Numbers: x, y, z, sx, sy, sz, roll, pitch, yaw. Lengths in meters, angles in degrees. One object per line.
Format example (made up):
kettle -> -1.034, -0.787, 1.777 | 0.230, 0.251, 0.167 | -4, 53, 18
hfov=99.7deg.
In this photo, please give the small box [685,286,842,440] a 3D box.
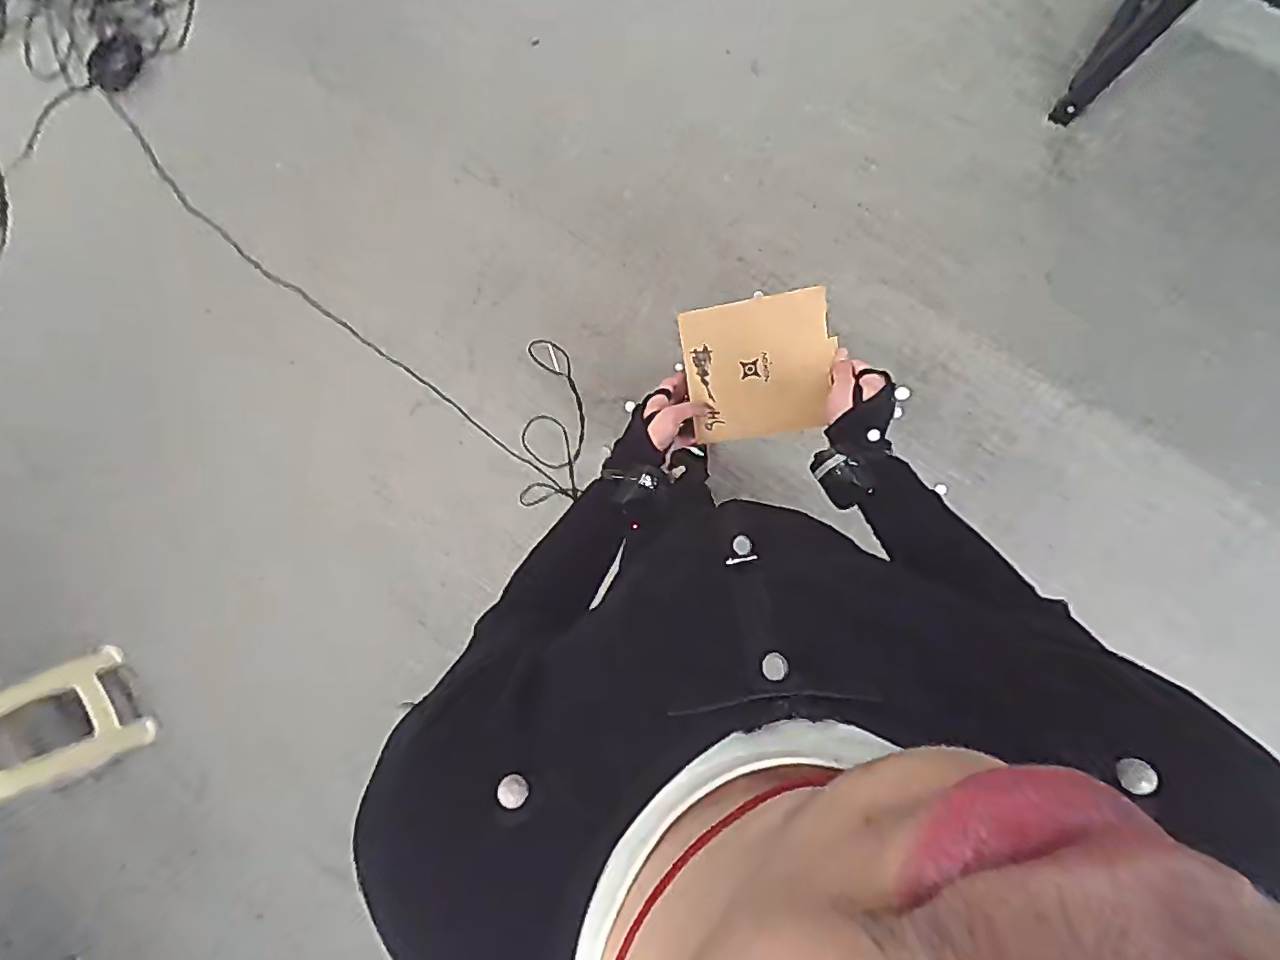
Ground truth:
small box -> 0.163, -0.158, 0.736 | 0.179, 0.176, 0.168 | -8, 102, 11
